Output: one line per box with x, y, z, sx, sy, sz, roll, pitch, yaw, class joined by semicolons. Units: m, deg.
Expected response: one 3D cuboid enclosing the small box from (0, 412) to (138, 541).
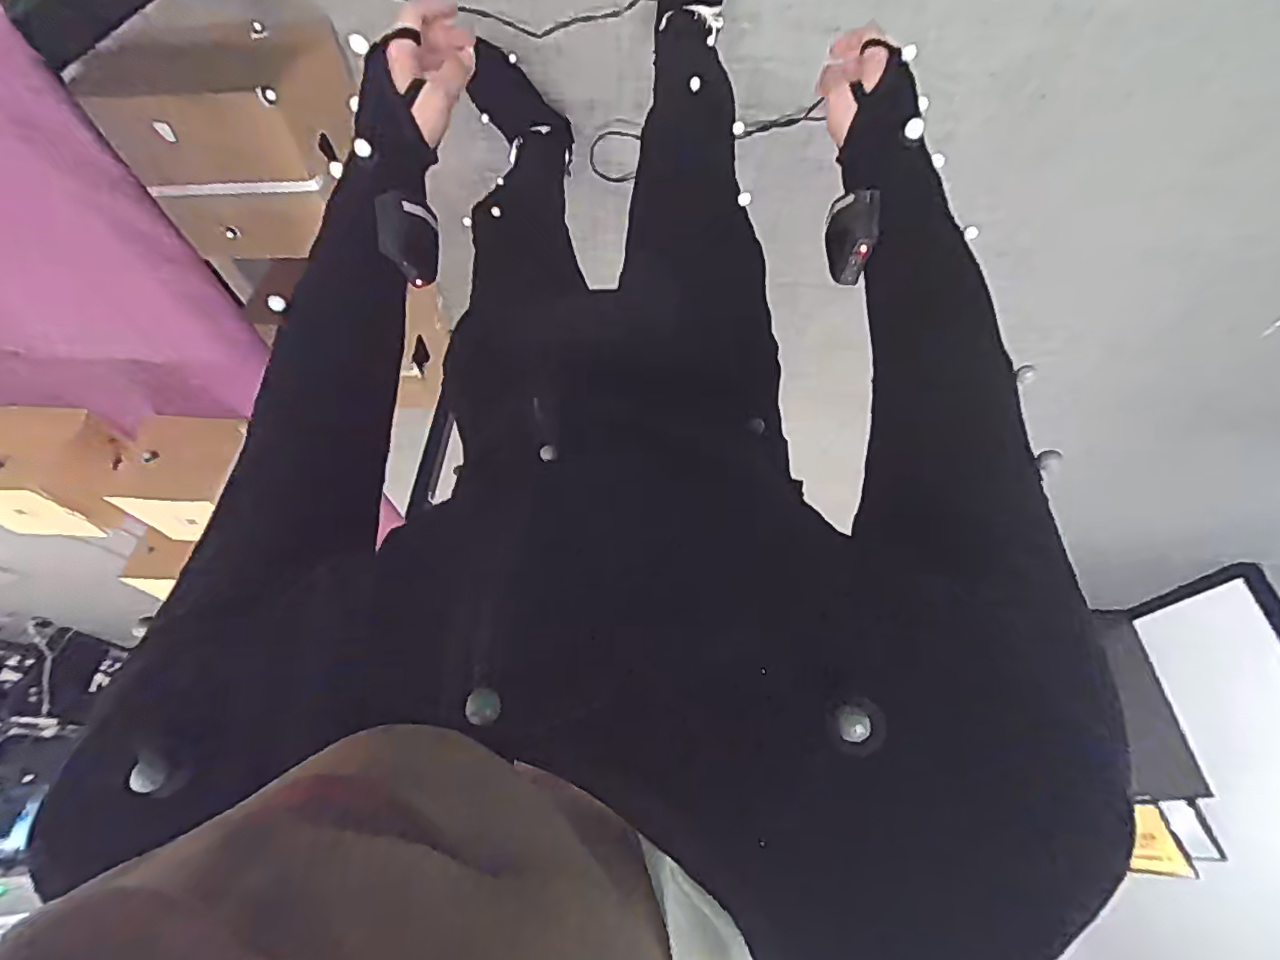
-1.037;-0.007;0.955;0.179;0.176;0.168;2;148;-1;small box

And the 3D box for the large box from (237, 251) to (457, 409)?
-0.787;-0.419;1.525;0.408;0.320;0.320;2;147;2;large box

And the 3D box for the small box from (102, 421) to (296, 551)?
-0.762;0.010;0.960;0.179;0.176;0.168;3;149;0;small box
